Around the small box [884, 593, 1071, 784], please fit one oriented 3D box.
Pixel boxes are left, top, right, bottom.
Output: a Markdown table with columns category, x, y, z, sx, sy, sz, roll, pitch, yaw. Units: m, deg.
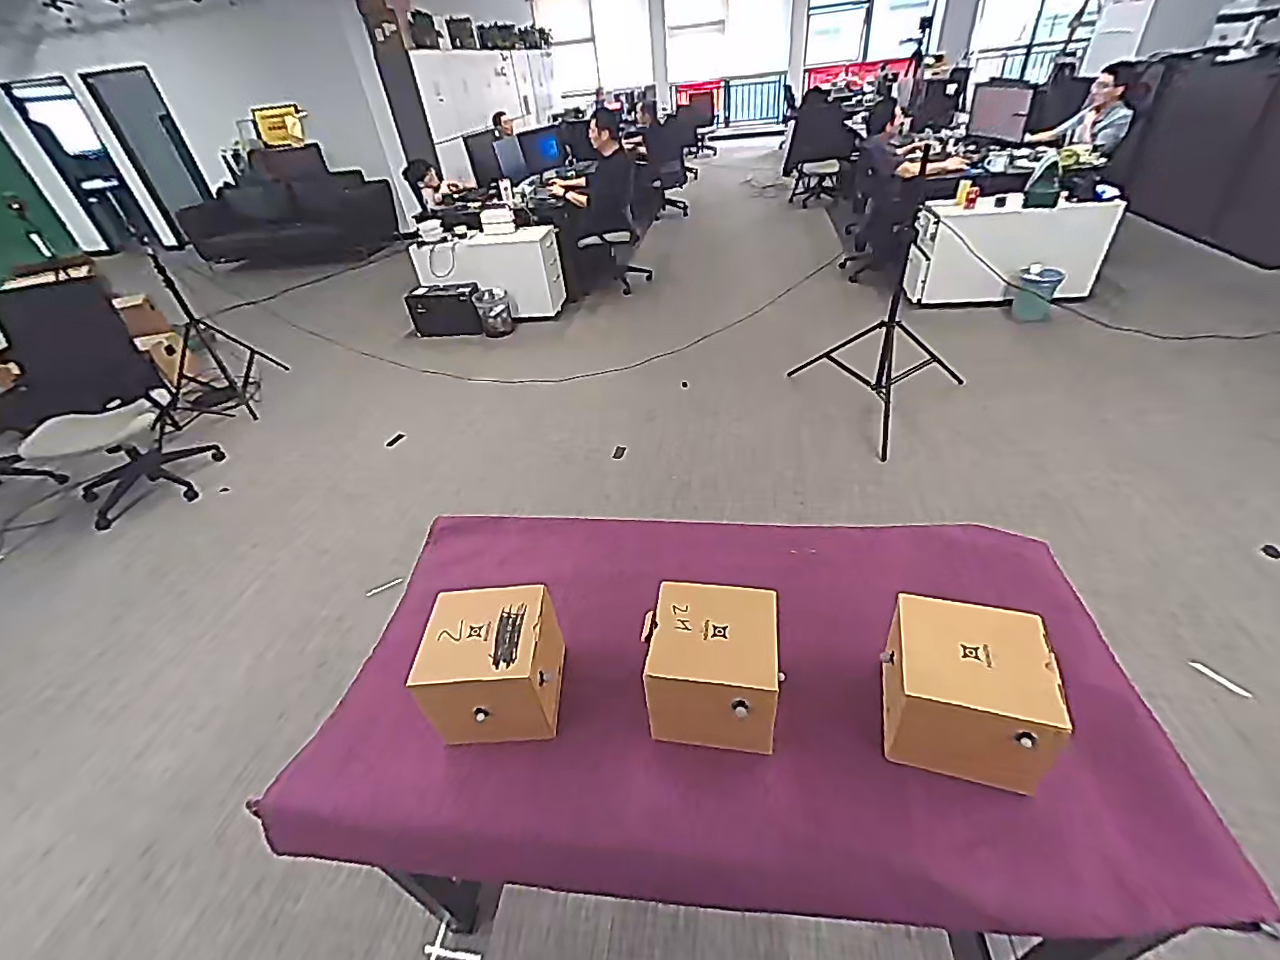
| category | x | y | z | sx | sy | sz | roll | pitch | yaw |
| --- | --- | --- | --- | --- | --- | --- | --- | --- | --- |
| small box | 0.437 | 0.283 | 0.738 | 0.179 | 0.176 | 0.168 | 6 | 39 | 18 |

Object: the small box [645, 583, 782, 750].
| category | x | y | z | sx | sy | sz | roll | pitch | yaw |
| --- | --- | --- | --- | --- | --- | --- | --- | --- | --- |
| small box | 0.113 | 0.276 | 0.802 | 0.179 | 0.176 | 0.168 | 1 | 37 | 12 |
